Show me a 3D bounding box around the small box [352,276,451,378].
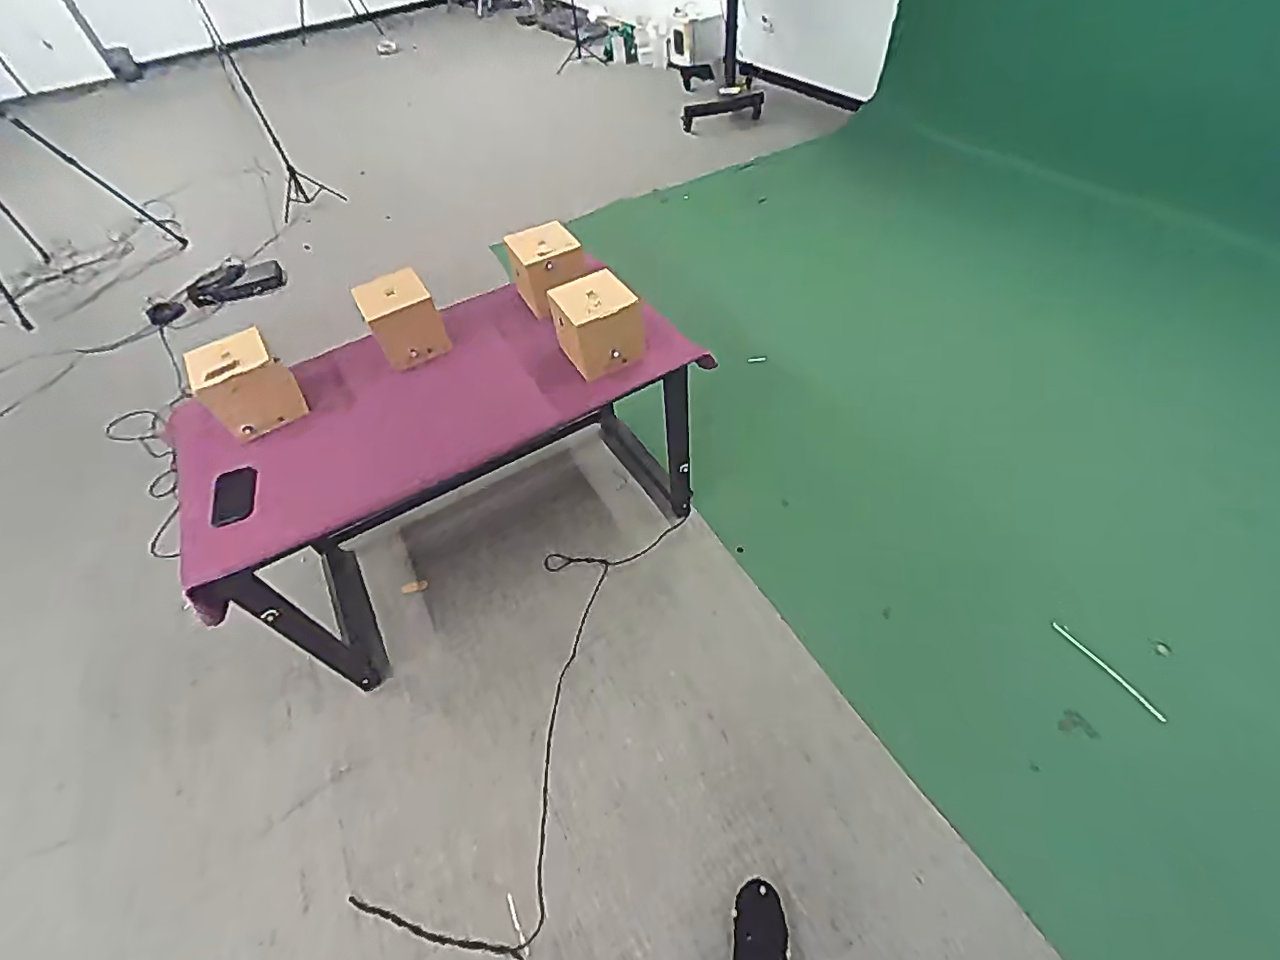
[{"bbox_3d":[-0.623,-0.400,1.421,0.168,0.176,0.179,-28,54,-15],"label":"small box"}]

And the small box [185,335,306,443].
[{"bbox_3d":[-0.939,-0.211,1.297,0.168,0.176,0.179,-30,53,-18],"label":"small box"}]

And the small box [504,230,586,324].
[{"bbox_3d":[-0.260,-0.568,1.517,0.168,0.176,0.179,-26,52,-13],"label":"small box"}]

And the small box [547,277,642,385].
[{"bbox_3d":[-0.108,-0.364,1.328,0.168,0.176,0.179,-26,53,-13],"label":"small box"}]
